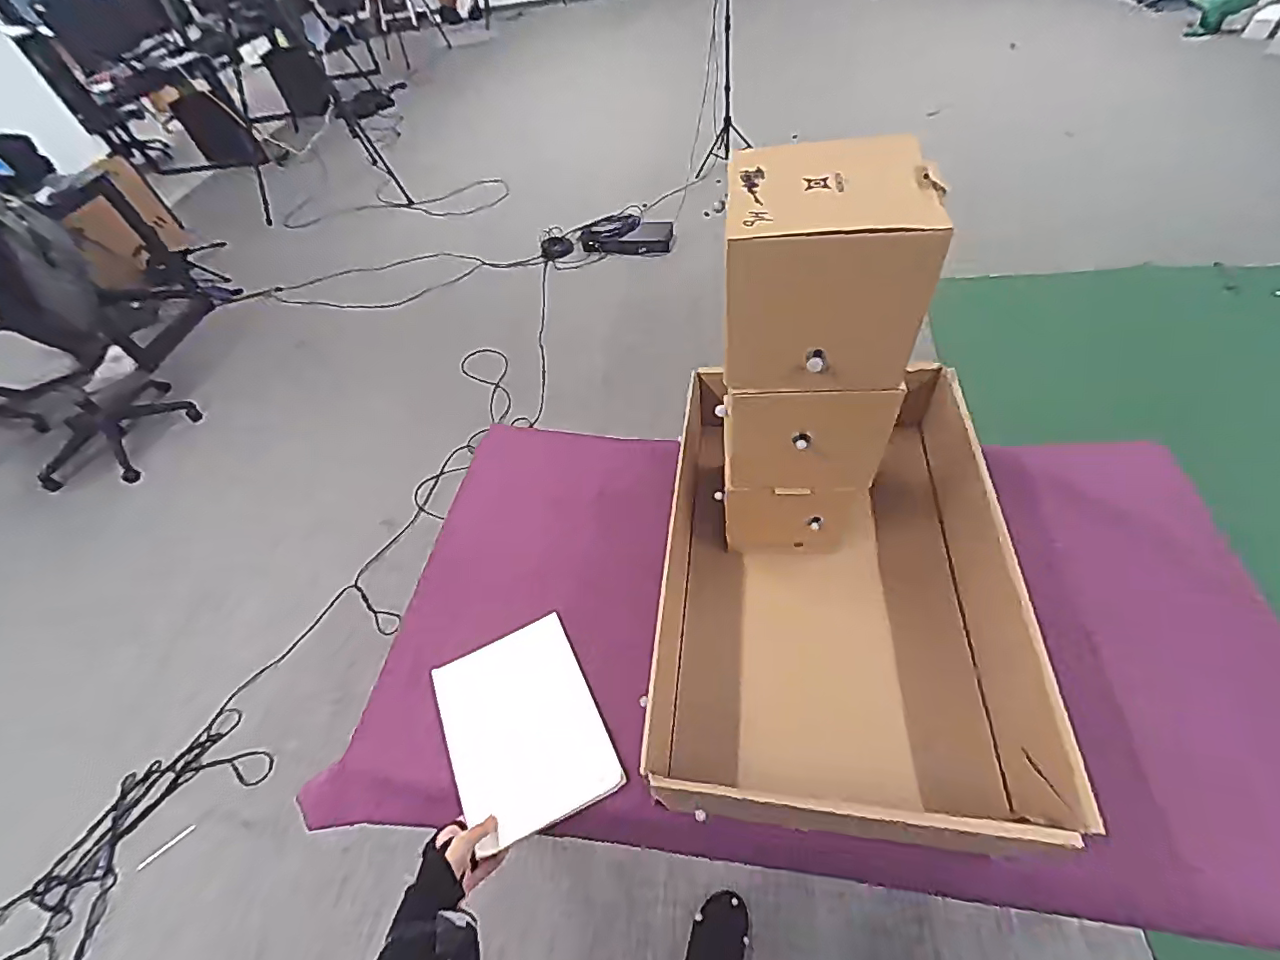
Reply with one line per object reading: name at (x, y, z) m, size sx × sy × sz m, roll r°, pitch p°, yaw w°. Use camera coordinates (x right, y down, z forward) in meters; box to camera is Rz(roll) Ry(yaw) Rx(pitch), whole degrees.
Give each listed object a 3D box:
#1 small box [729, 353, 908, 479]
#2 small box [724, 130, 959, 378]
small box at (0.199, -0.113, 0.661) m, size 0.179 × 0.176 × 0.168 m, roll -1°, pitch 53°, yaw 9°
small box at (0.177, -0.215, 0.534) m, size 0.179 × 0.176 × 0.168 m, roll 2°, pitch 53°, yaw 9°
